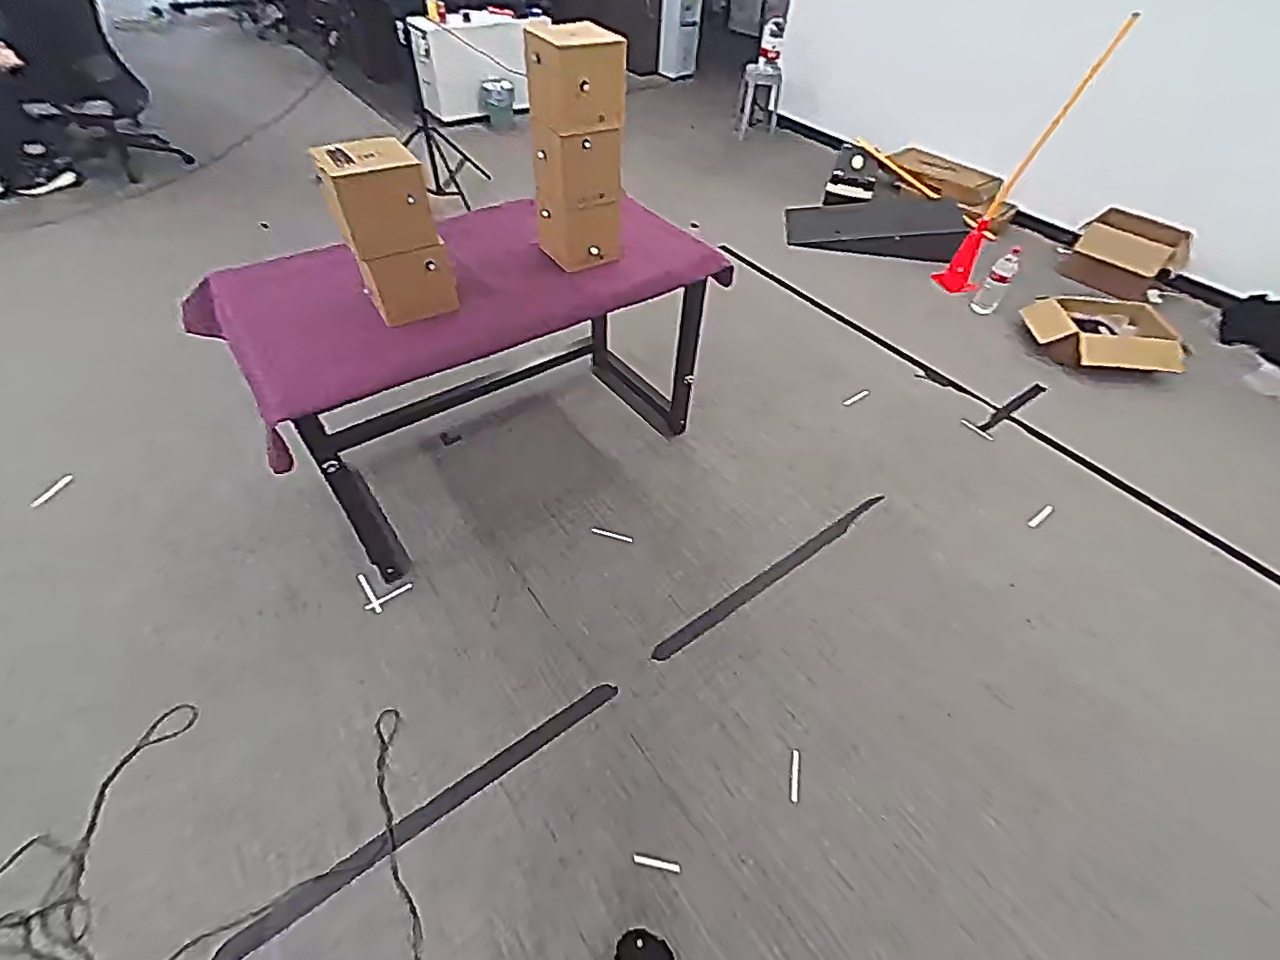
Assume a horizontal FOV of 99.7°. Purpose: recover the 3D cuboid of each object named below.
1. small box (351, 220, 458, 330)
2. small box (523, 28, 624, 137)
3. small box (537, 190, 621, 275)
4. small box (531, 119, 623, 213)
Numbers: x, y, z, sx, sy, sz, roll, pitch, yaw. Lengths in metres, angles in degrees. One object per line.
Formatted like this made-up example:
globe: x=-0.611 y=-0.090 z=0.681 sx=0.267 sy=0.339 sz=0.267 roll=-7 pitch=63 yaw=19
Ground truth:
small box: x=-0.548 y=-0.484 z=1.280 sx=0.179 sy=0.176 sz=0.168 roll=-26 pitch=55 yaw=-23
small box: x=-0.146 y=-0.897 z=1.228 sx=0.168 sy=0.176 sz=0.179 roll=-25 pitch=54 yaw=-22
small box: x=-0.167 y=-0.690 z=1.481 sx=0.168 sy=0.176 sz=0.179 roll=-26 pitch=56 yaw=-23
small box: x=-0.157 y=-0.794 z=1.355 sx=0.168 sy=0.176 sz=0.179 roll=-24 pitch=54 yaw=-21
